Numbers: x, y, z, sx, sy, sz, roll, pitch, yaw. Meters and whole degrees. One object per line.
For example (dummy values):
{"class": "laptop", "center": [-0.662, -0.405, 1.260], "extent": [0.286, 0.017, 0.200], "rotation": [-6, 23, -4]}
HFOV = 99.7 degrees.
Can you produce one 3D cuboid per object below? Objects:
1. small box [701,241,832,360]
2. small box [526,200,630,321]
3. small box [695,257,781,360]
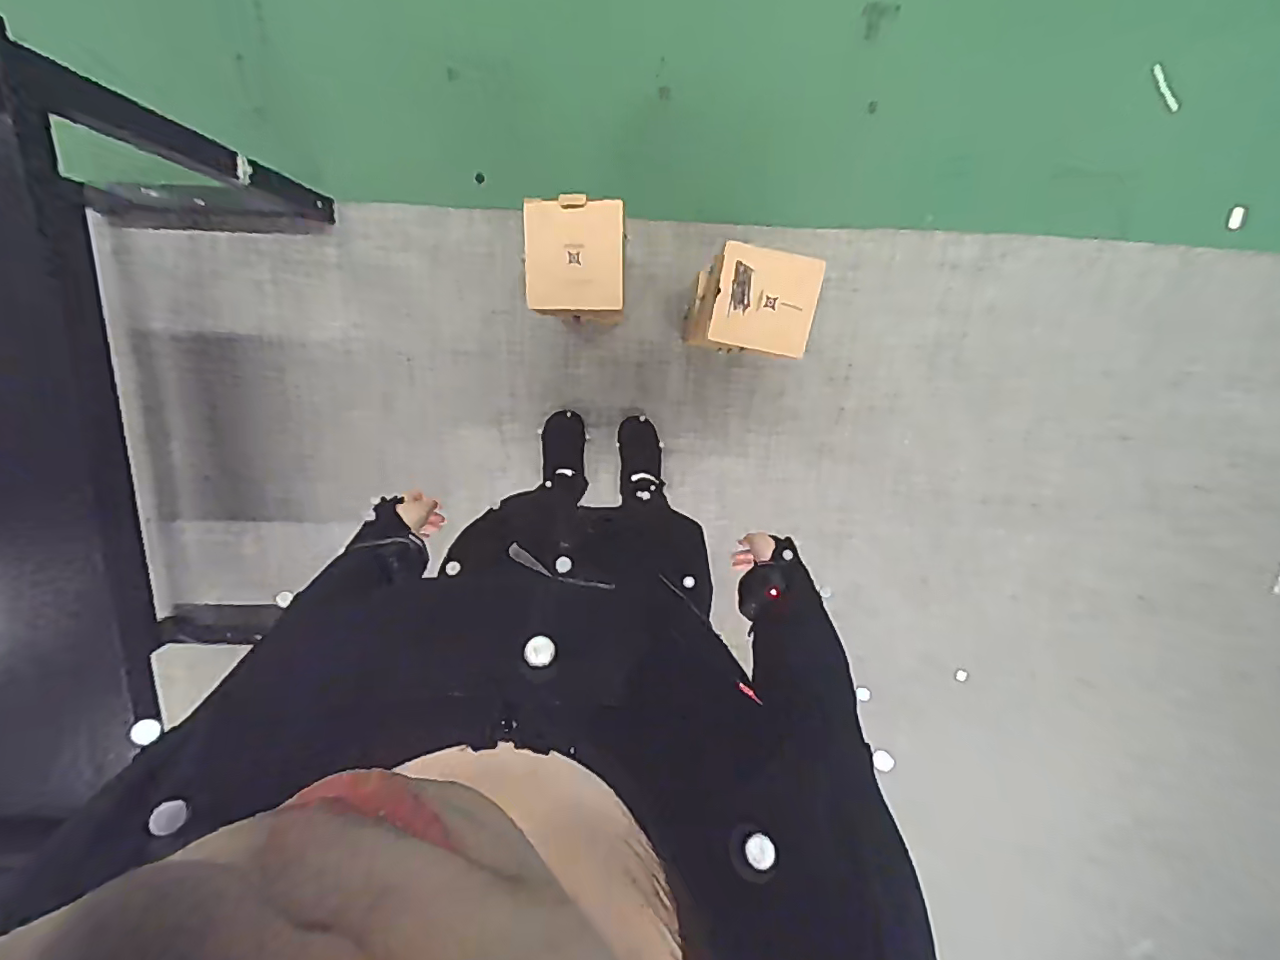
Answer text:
{"class": "small box", "center": [0.216, -0.315, 0.981], "extent": [0.179, 0.176, 0.168], "rotation": [11, 103, -3]}
{"class": "small box", "center": [-0.104, -0.383, 0.967], "extent": [0.168, 0.176, 0.179], "rotation": [0, 103, 1]}
{"class": "small box", "center": [0.222, -0.354, 1.140], "extent": [0.179, 0.176, 0.168], "rotation": [13, 104, -4]}
